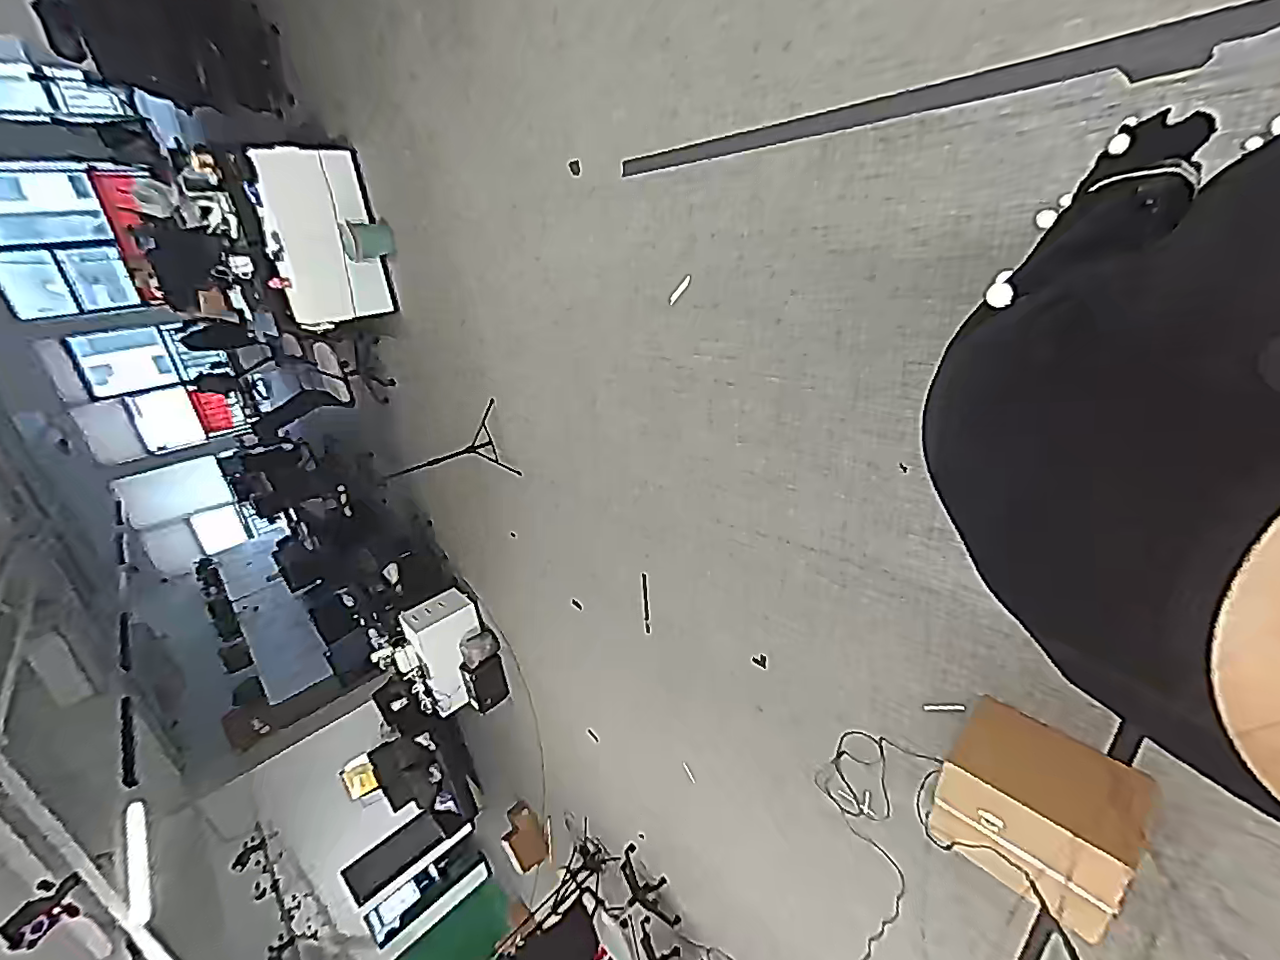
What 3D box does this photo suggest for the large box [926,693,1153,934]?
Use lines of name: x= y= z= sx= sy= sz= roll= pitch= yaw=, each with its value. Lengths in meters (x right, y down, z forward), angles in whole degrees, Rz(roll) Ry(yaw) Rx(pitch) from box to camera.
large box: x=1.075 y=0.878 z=1.481 sx=0.408 sy=0.320 sz=0.320 roll=23 pitch=126 yaw=43
